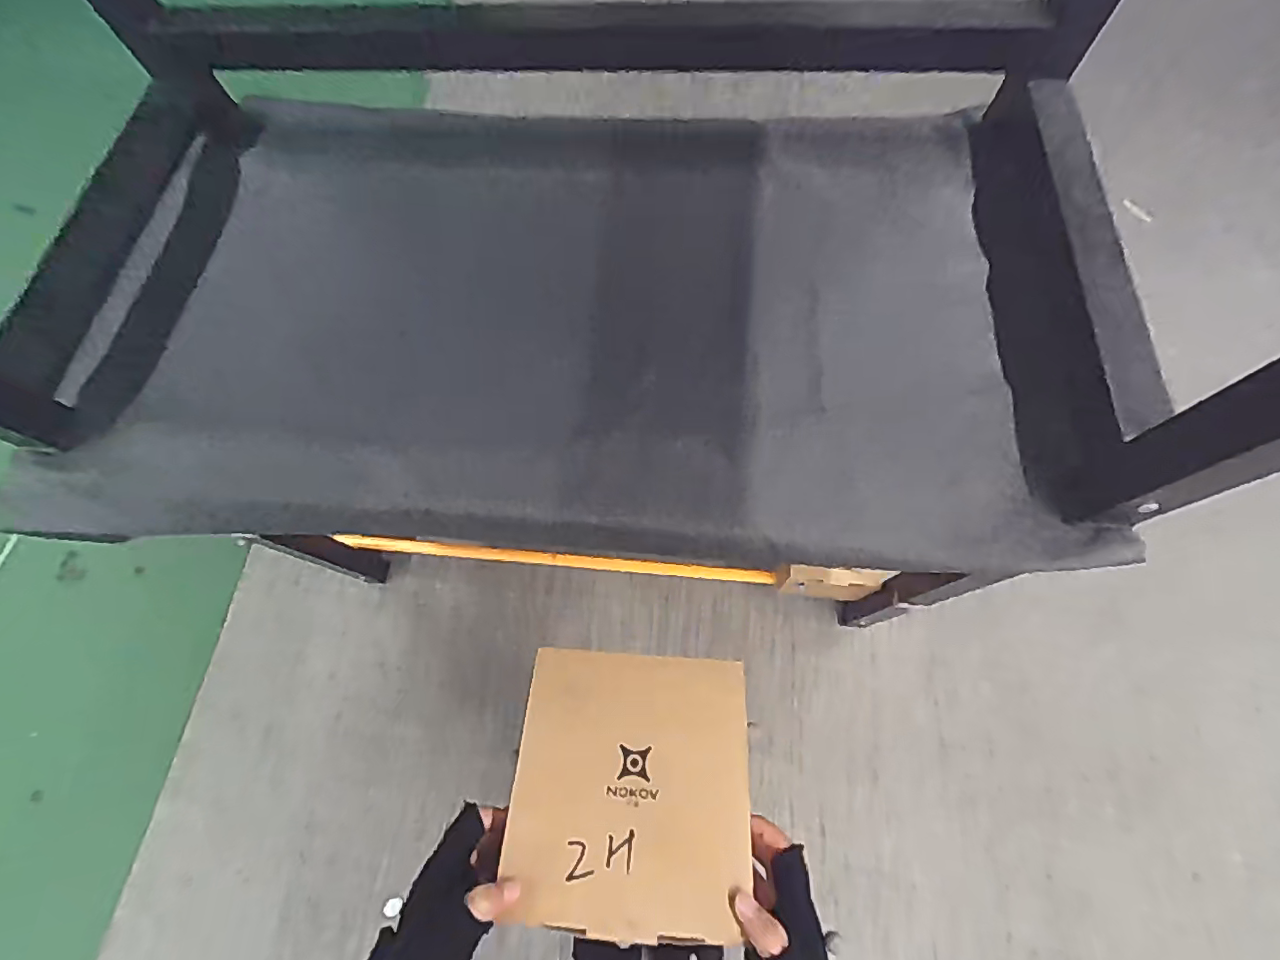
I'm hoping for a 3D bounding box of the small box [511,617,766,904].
[{"bbox_3d":[0.004,0.233,0.453,0.168,0.176,0.179,3,56,3],"label":"small box"}]
